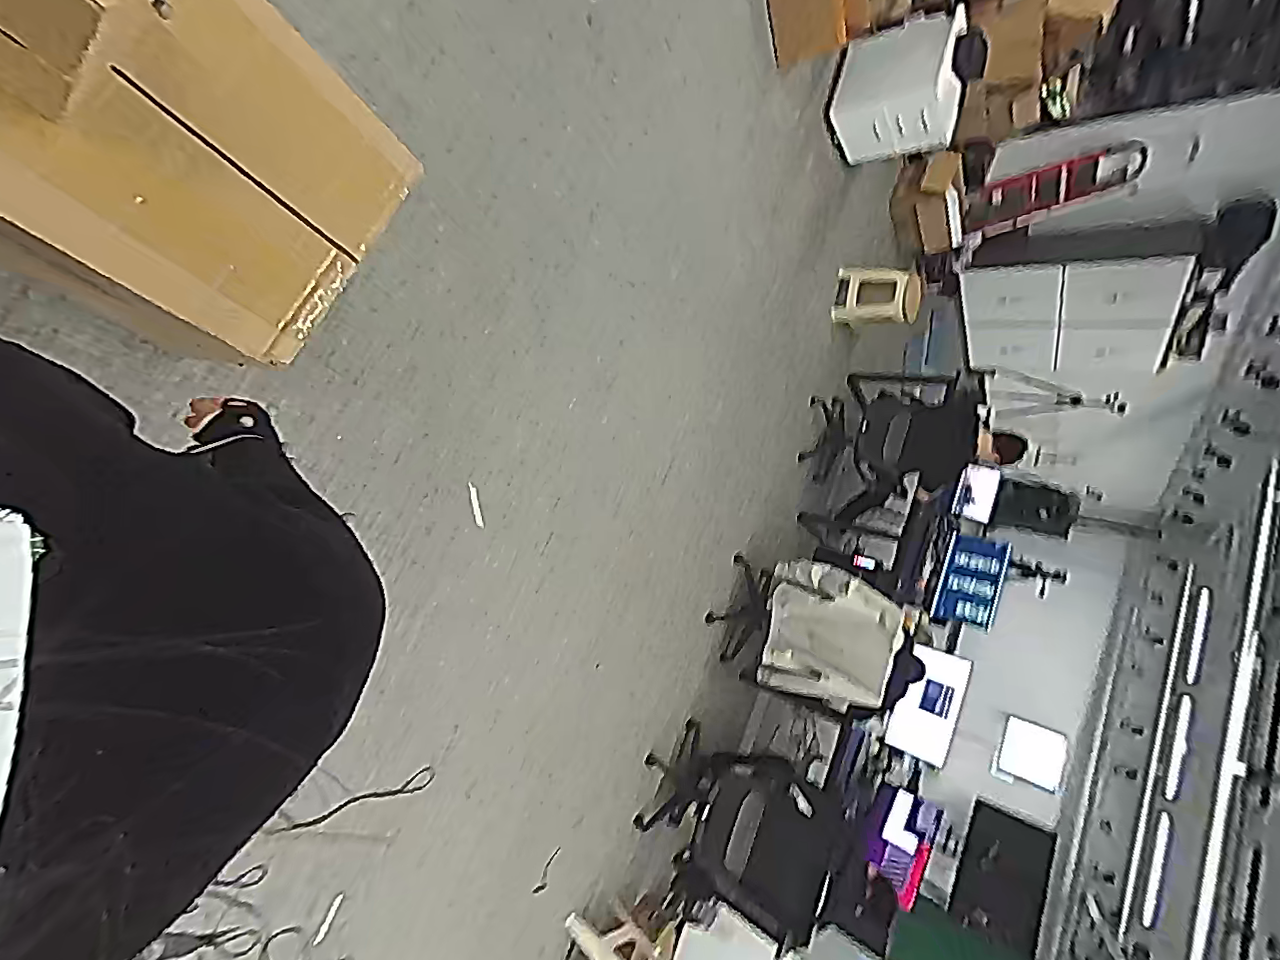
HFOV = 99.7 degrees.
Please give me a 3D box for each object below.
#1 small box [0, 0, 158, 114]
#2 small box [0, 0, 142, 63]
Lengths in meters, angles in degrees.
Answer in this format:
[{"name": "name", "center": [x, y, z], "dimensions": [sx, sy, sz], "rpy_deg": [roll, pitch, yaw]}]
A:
[{"name": "small box", "center": [-0.568, -0.478, 0.486], "dimensions": [0.168, 0.176, 0.179], "rpy_deg": [38, 72, -49]}, {"name": "small box", "center": [-0.443, -0.450, 0.383], "dimensions": [0.168, 0.176, 0.179], "rpy_deg": [36, 74, -49]}]
